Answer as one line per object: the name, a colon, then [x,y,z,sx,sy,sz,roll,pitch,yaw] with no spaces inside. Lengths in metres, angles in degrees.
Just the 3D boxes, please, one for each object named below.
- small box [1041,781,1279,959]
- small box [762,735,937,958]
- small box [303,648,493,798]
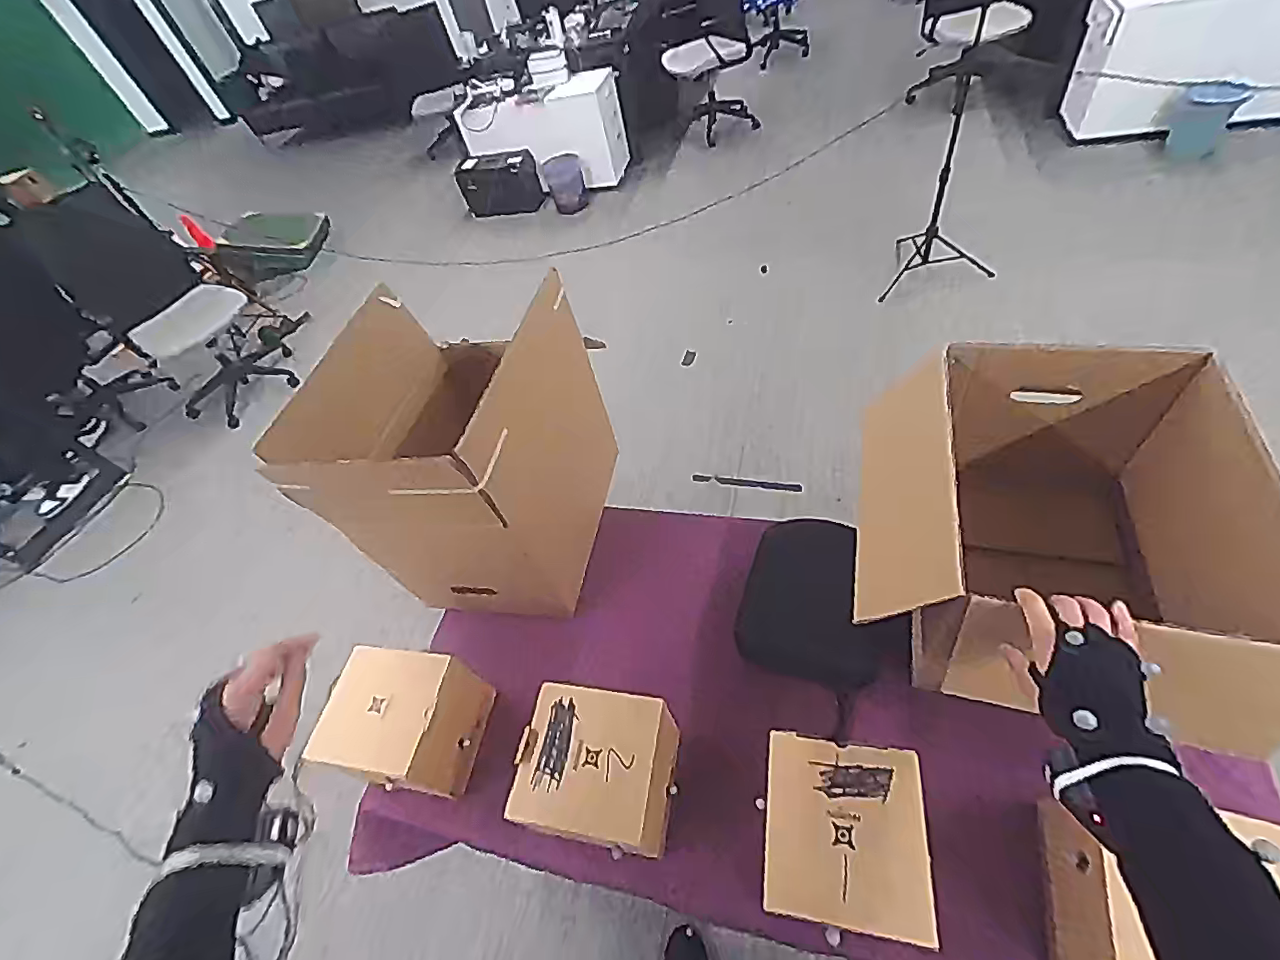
small box: [0.536,0.442,0.550,0.168,0.176,0.179,8,54,21]
small box: [0.236,0.428,0.642,0.168,0.176,0.179,2,53,17]
small box: [-0.359,0.378,0.839,0.179,0.176,0.168,2,52,14]
